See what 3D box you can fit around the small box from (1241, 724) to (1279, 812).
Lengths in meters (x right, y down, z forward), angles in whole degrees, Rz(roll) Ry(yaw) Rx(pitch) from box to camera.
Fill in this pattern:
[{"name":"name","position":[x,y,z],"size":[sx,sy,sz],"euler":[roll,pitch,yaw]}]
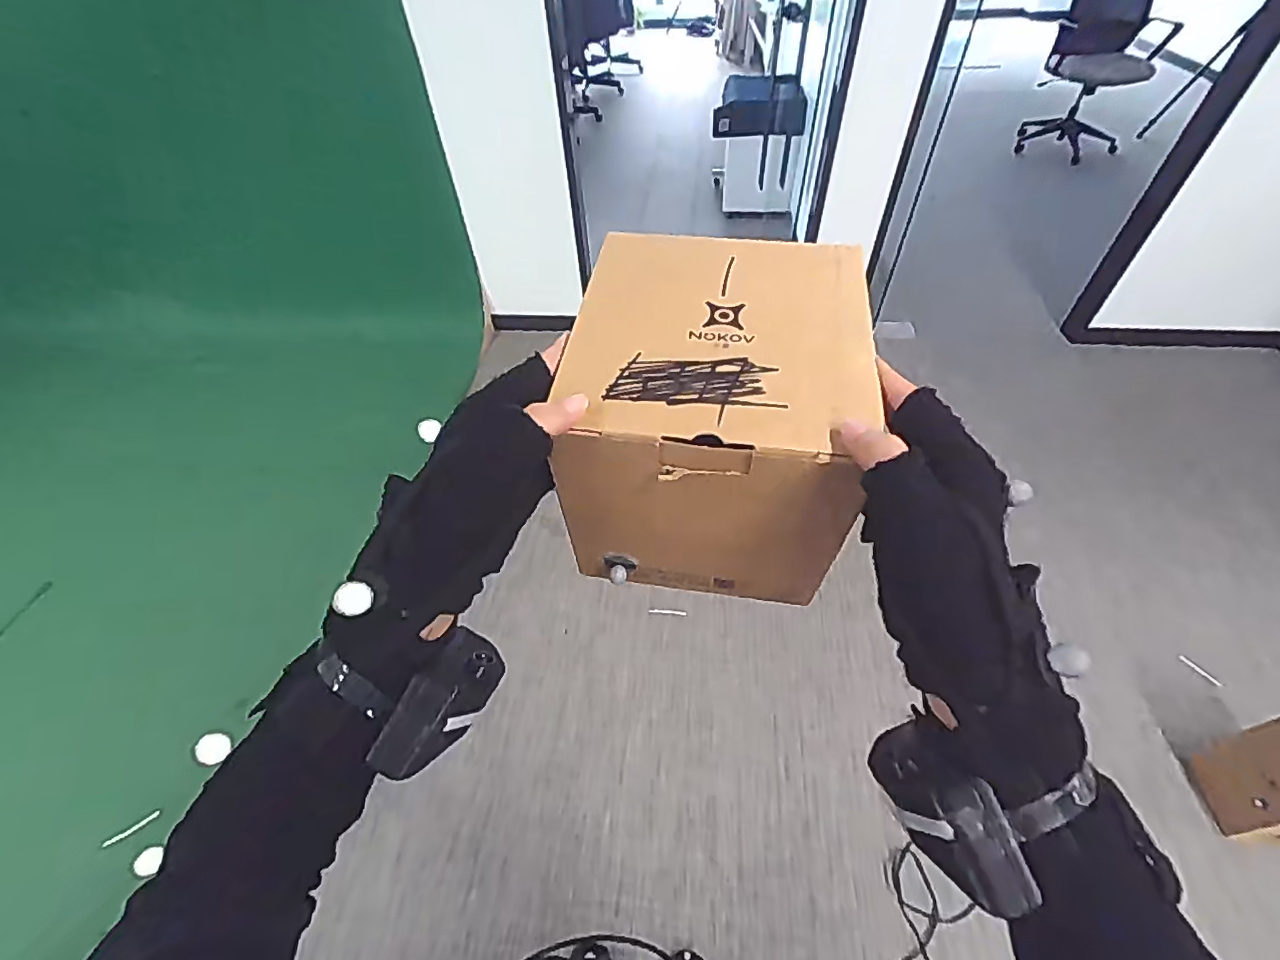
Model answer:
[{"name":"small box","position":[1.372,0.570,1.055],"size":[0.179,0.176,0.168],"euler":[4,49,5]}]

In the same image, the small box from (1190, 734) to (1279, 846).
[{"name":"small box","position":[1.379,0.679,1.178],"size":[0.168,0.176,0.179],"euler":[3,49,6]}]

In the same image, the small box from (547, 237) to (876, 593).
[{"name":"small box","position":[0.050,-0.040,0.375],"size":[0.168,0.176,0.179],"euler":[7,55,7]}]
